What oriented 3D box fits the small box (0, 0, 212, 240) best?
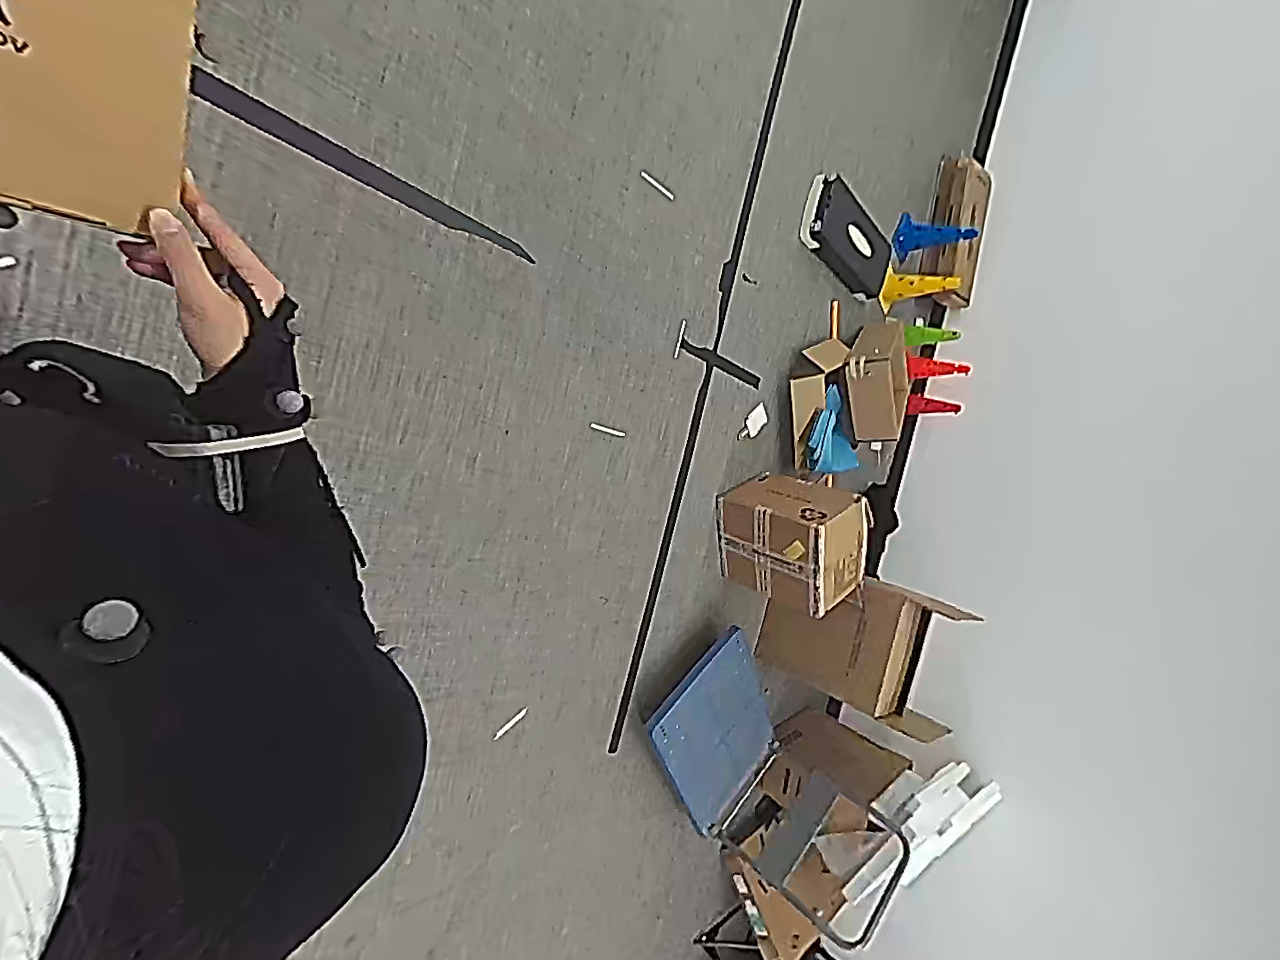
[{"bbox_3d":[-0.372,-0.259,0.318,0.168,0.176,0.179,5,104,-44],"label":"small box"}]
